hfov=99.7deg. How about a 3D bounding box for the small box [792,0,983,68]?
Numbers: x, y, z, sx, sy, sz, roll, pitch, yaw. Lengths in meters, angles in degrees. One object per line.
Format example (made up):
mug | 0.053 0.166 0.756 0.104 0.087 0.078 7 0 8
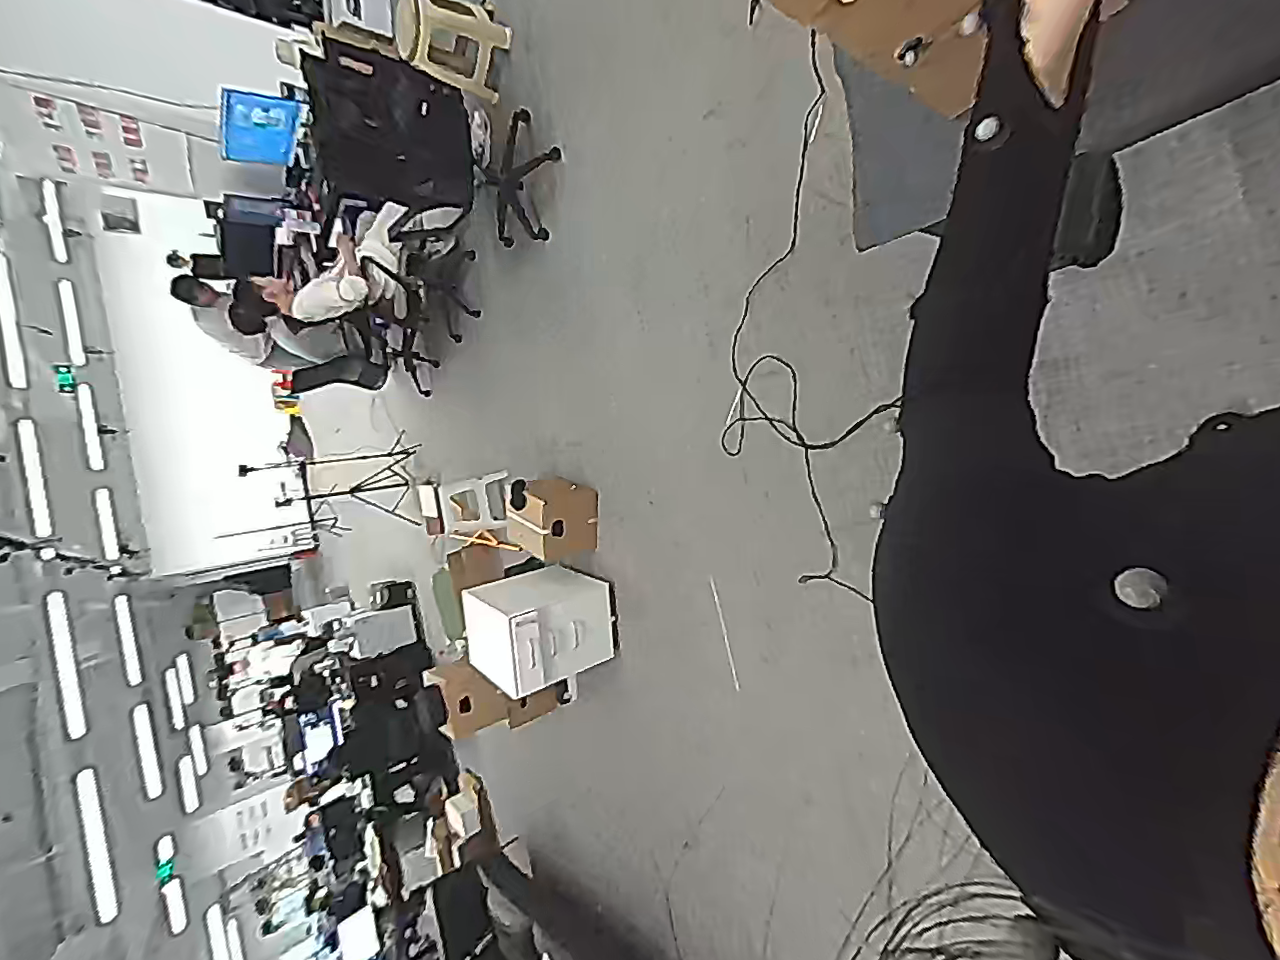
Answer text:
small box | 0.235 -0.516 0.481 0.168 0.176 0.179 -23 78 51

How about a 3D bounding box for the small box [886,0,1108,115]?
small box | 0.369 -0.540 0.574 0.179 0.176 0.168 -17 83 53
